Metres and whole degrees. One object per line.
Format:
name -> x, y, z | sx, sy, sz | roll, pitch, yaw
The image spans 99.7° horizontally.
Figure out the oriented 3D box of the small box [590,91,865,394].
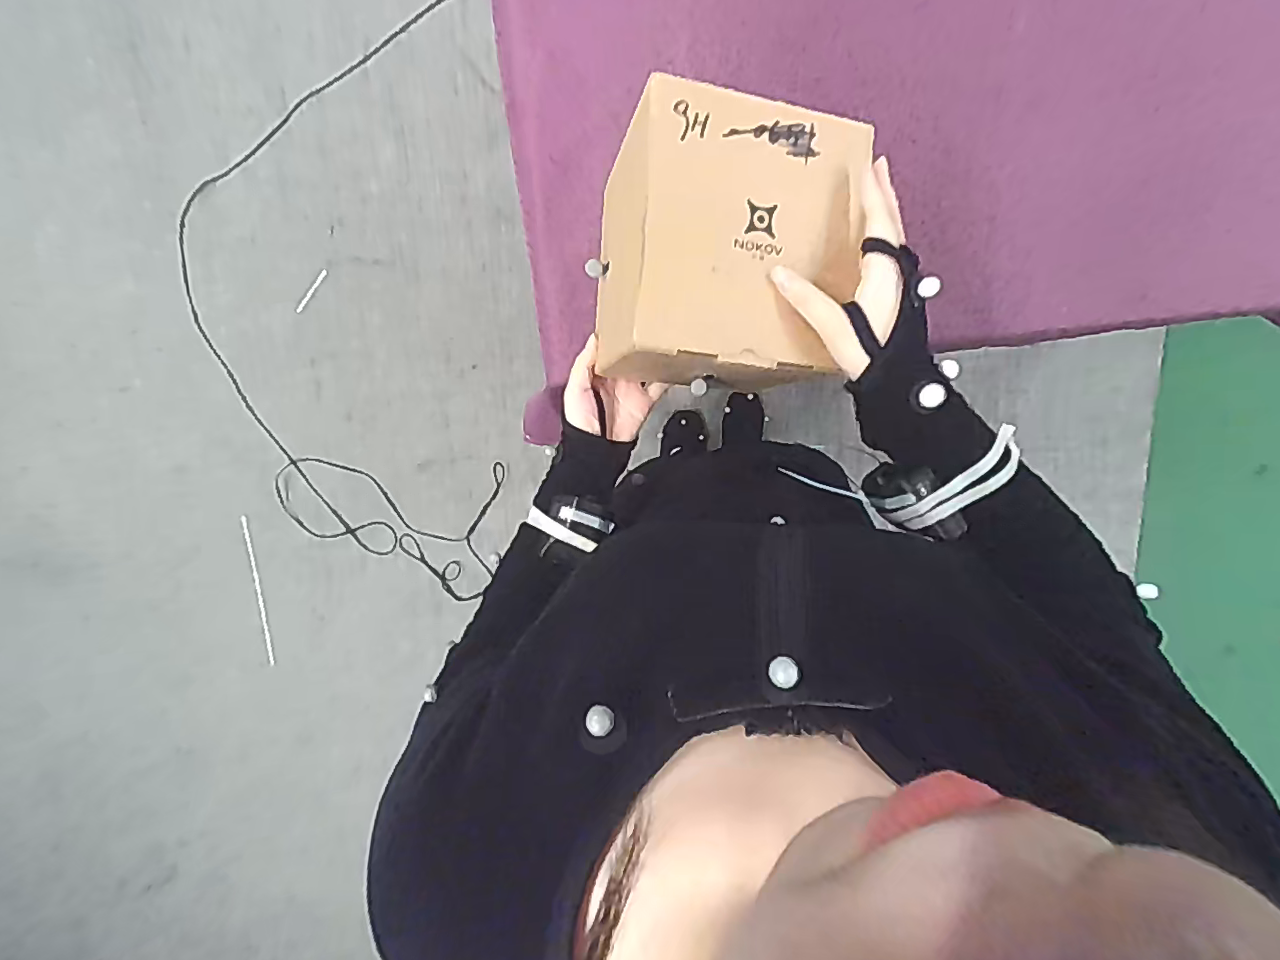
small box -> 0.055, -0.168, 0.451 | 0.168, 0.176, 0.179 | 4, 95, -15
